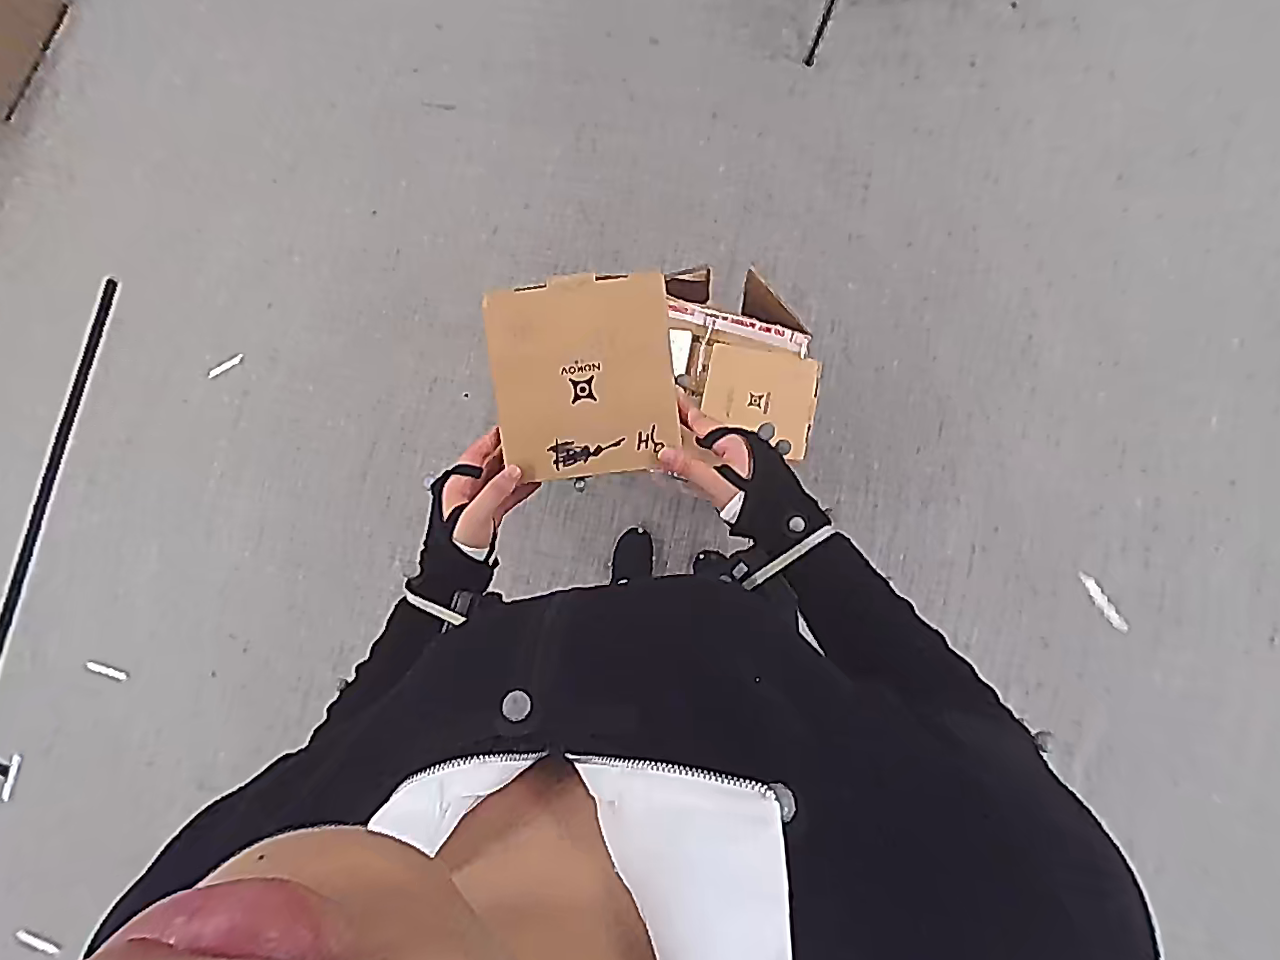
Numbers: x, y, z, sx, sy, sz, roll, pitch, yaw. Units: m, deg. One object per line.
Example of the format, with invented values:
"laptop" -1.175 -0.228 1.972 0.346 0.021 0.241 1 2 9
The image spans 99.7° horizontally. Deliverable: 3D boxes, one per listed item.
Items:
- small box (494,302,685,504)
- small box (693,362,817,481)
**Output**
"small box" -0.044 -0.074 0.585 0.168 0.176 0.179 -7 93 4
"small box" 0.195 -0.095 0.961 0.179 0.176 0.168 11 86 7
